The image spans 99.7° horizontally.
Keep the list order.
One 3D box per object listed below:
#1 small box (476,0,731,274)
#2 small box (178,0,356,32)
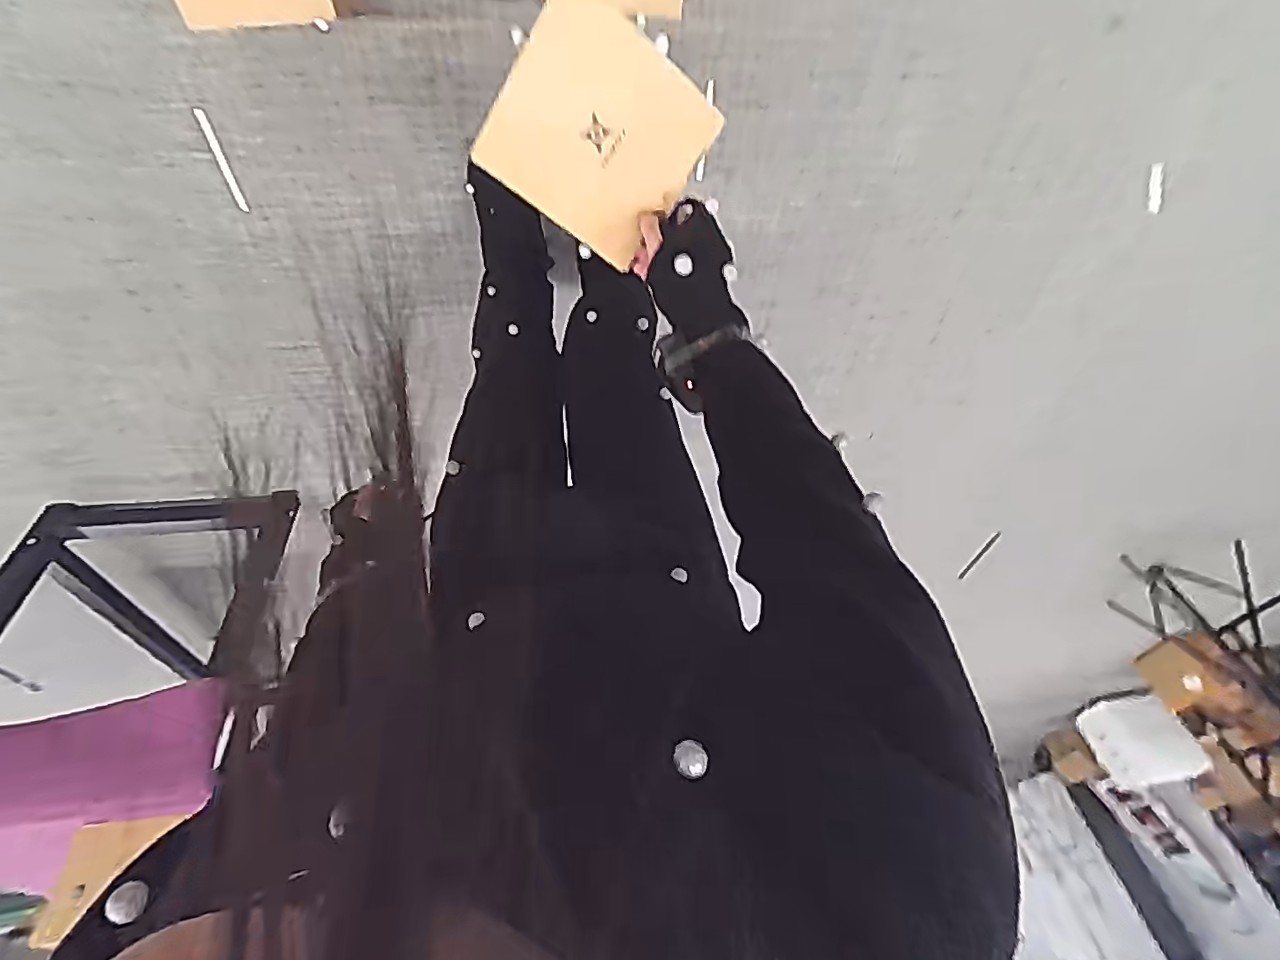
[{"bbox_3d":[-0.045,-0.344,0.549,0.179,0.176,0.168,27,115,-28],"label":"small box"},{"bbox_3d":[-0.459,-0.655,0.640,0.179,0.176,0.168,-7,138,-3],"label":"small box"}]
